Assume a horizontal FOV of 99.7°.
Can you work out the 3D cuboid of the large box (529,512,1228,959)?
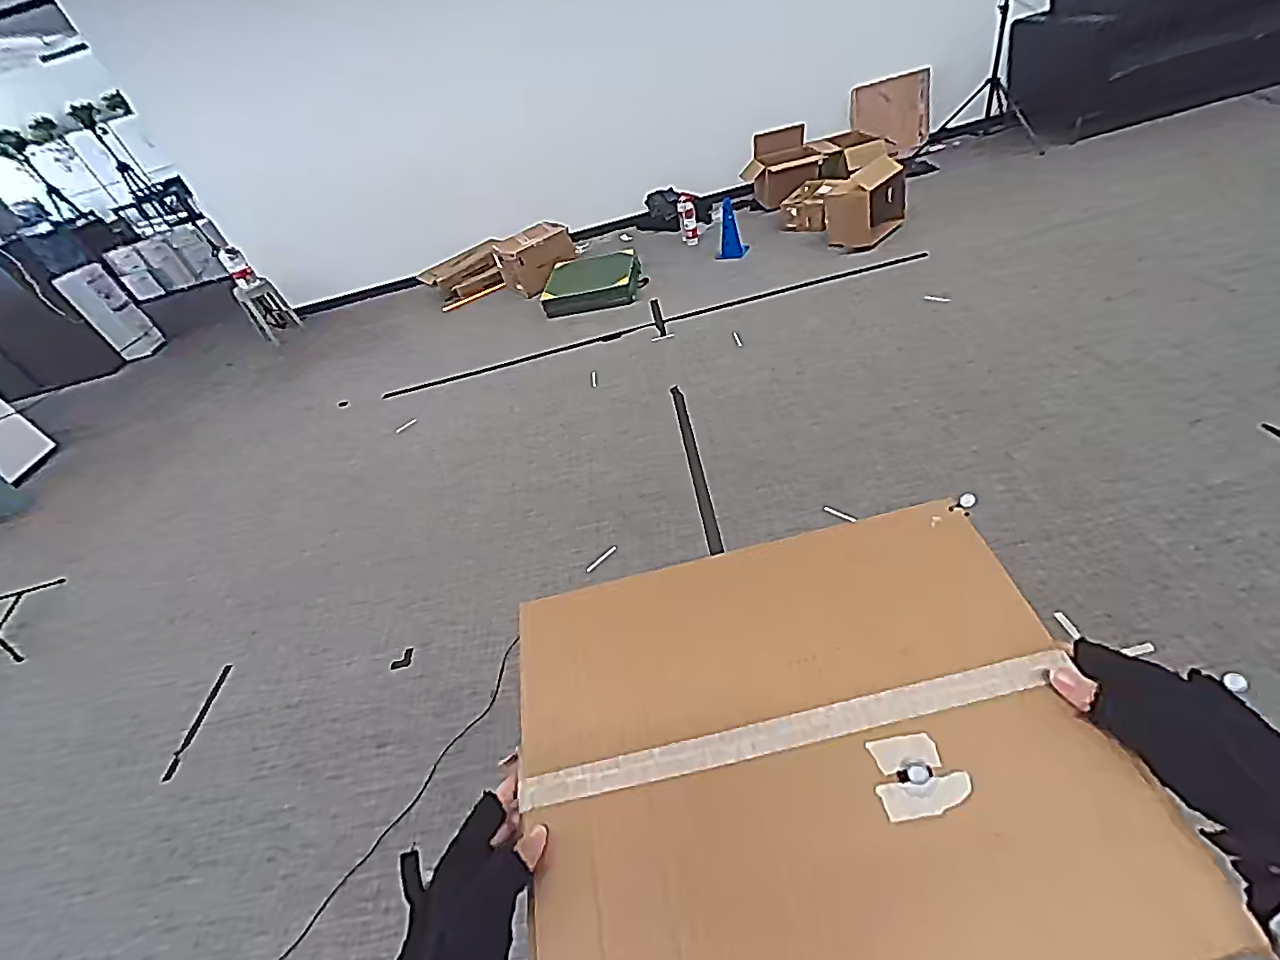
[{"bbox_3d":[0.140,0.285,0.514,0.408,0.320,0.320,-14,50,1],"label":"large box"}]
